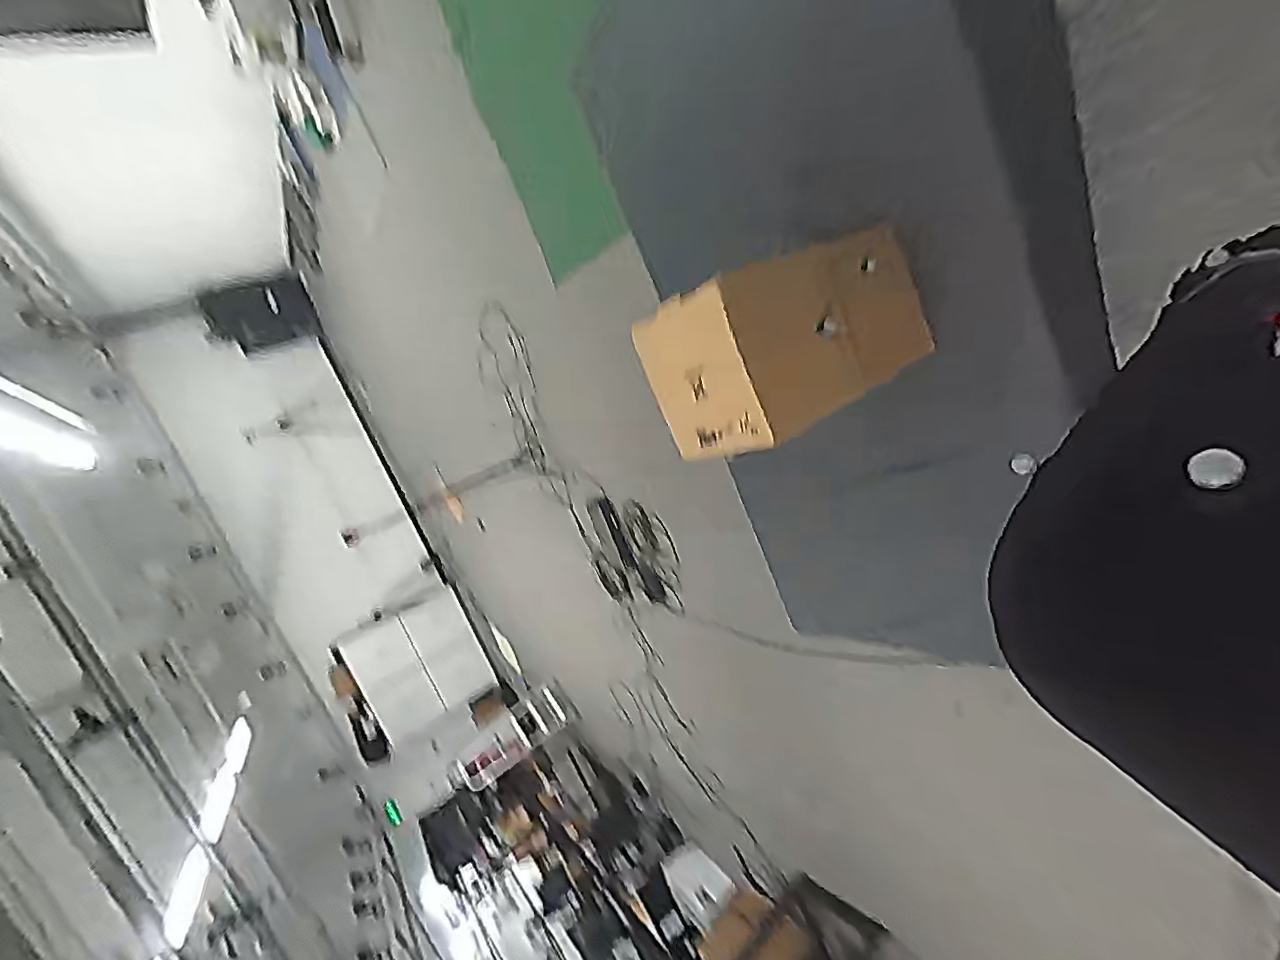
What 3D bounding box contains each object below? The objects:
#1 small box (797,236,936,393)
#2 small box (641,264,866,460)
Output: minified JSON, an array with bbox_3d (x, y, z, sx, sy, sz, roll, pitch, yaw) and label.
[{"bbox_3d":[0.259,-0.208,0.733,0.168,0.176,0.179,-13,105,60],"label":"small box"},{"bbox_3d":[0.136,-0.141,0.649,0.168,0.176,0.179,-9,106,60],"label":"small box"}]
